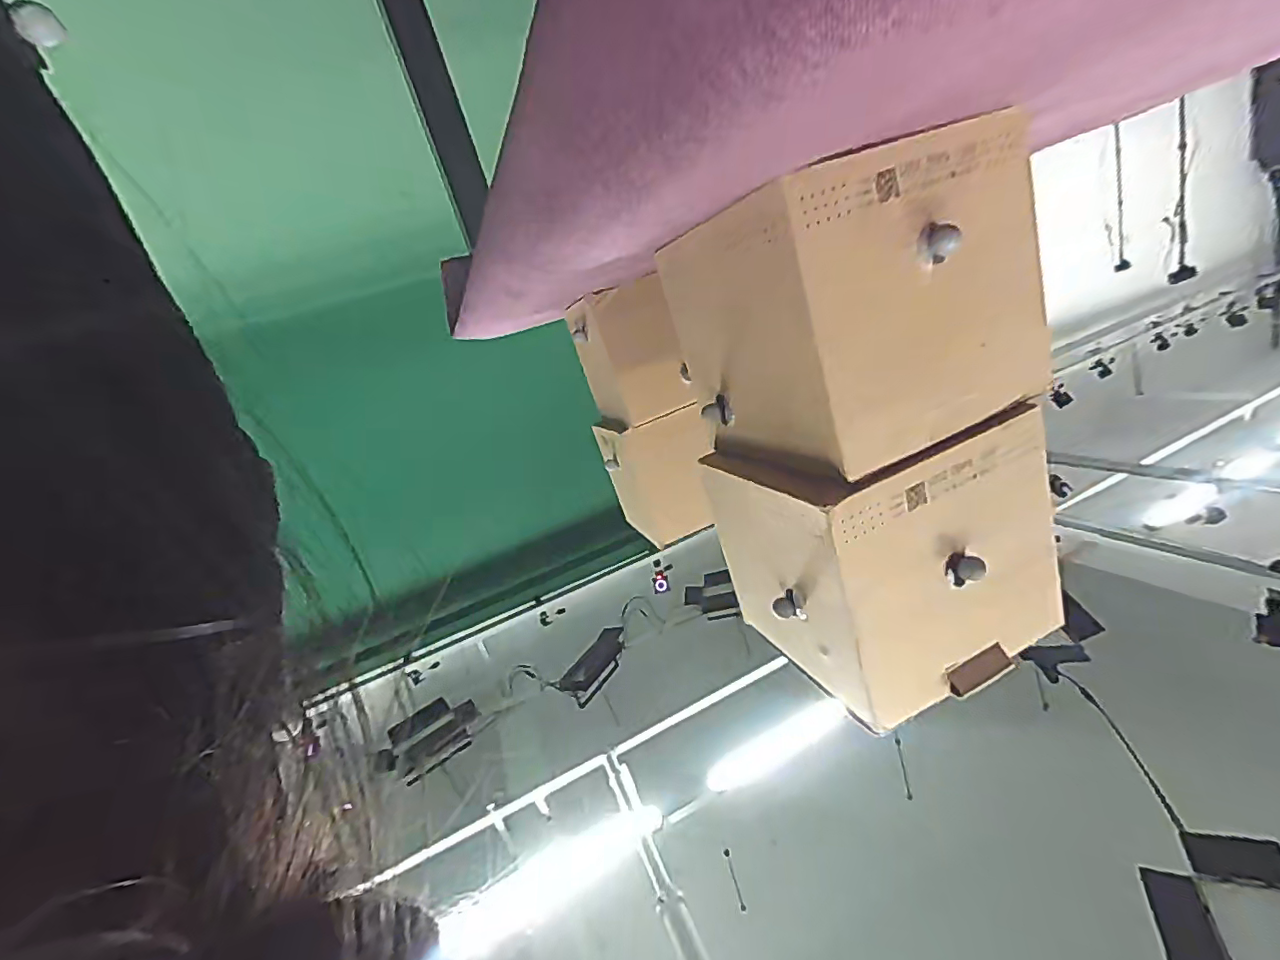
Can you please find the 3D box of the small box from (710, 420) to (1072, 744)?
[{"bbox_3d":[0.173,0.046,0.409,0.168,0.176,0.179,-22,-164,-13],"label":"small box"}]

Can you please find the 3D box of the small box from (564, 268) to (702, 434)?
[{"bbox_3d":[0.020,-0.176,0.714,0.179,0.176,0.168,-23,-165,-13],"label":"small box"}]

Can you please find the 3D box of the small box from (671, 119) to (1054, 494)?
[{"bbox_3d":[0.137,-0.111,0.373,0.168,0.176,0.179,-24,-164,-14],"label":"small box"}]

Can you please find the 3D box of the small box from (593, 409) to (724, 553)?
[{"bbox_3d":[0.055,-0.025,0.771,0.179,0.176,0.168,-23,-165,-13],"label":"small box"}]
